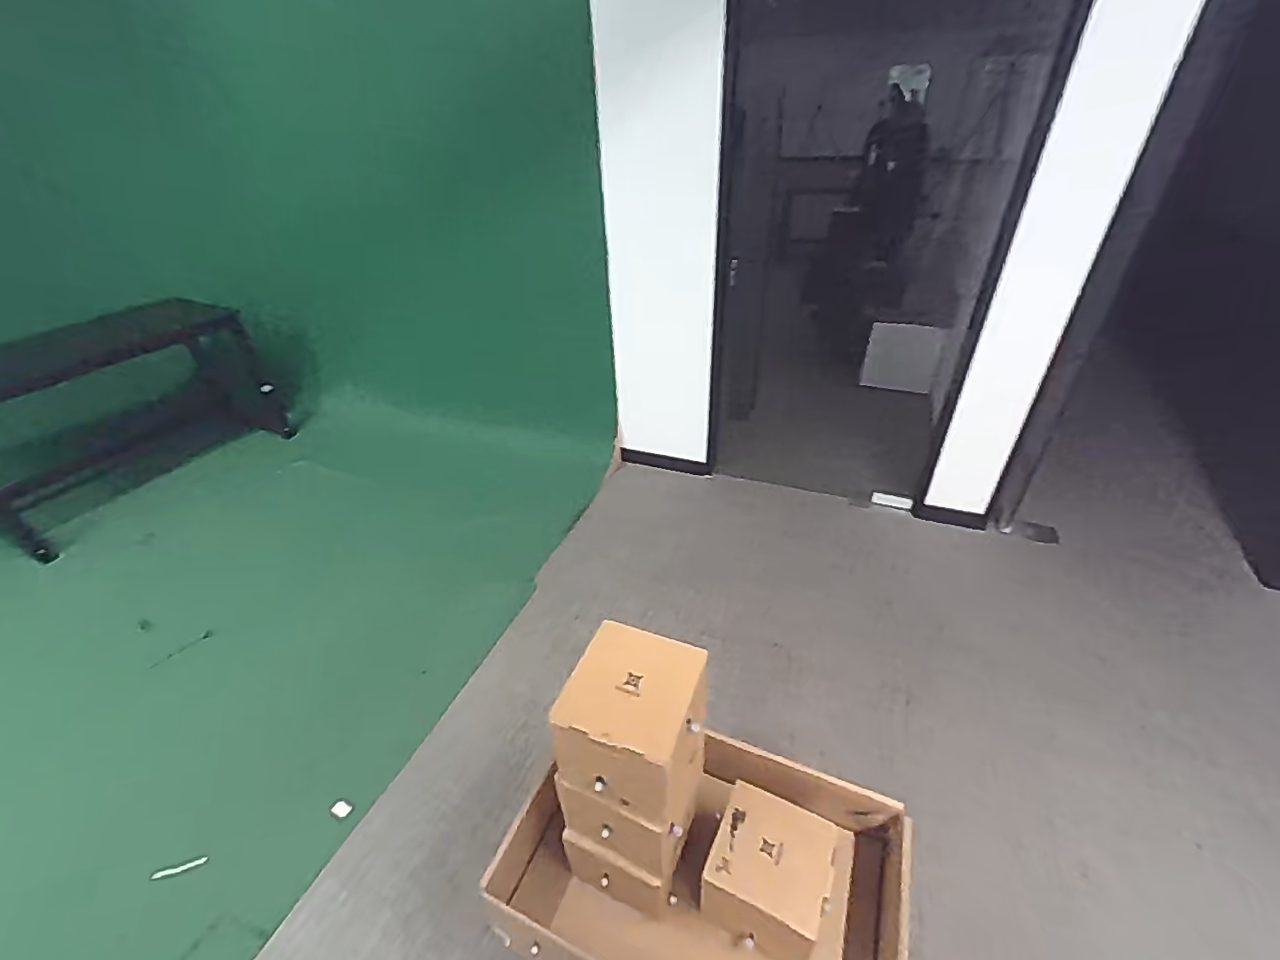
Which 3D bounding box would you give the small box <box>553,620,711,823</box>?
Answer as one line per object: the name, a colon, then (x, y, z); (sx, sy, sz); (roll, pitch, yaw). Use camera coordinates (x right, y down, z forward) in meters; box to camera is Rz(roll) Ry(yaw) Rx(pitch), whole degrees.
small box: (-0.005, 0.339, 0.770); (0.168, 0.176, 0.179); (12, 38, 19)
